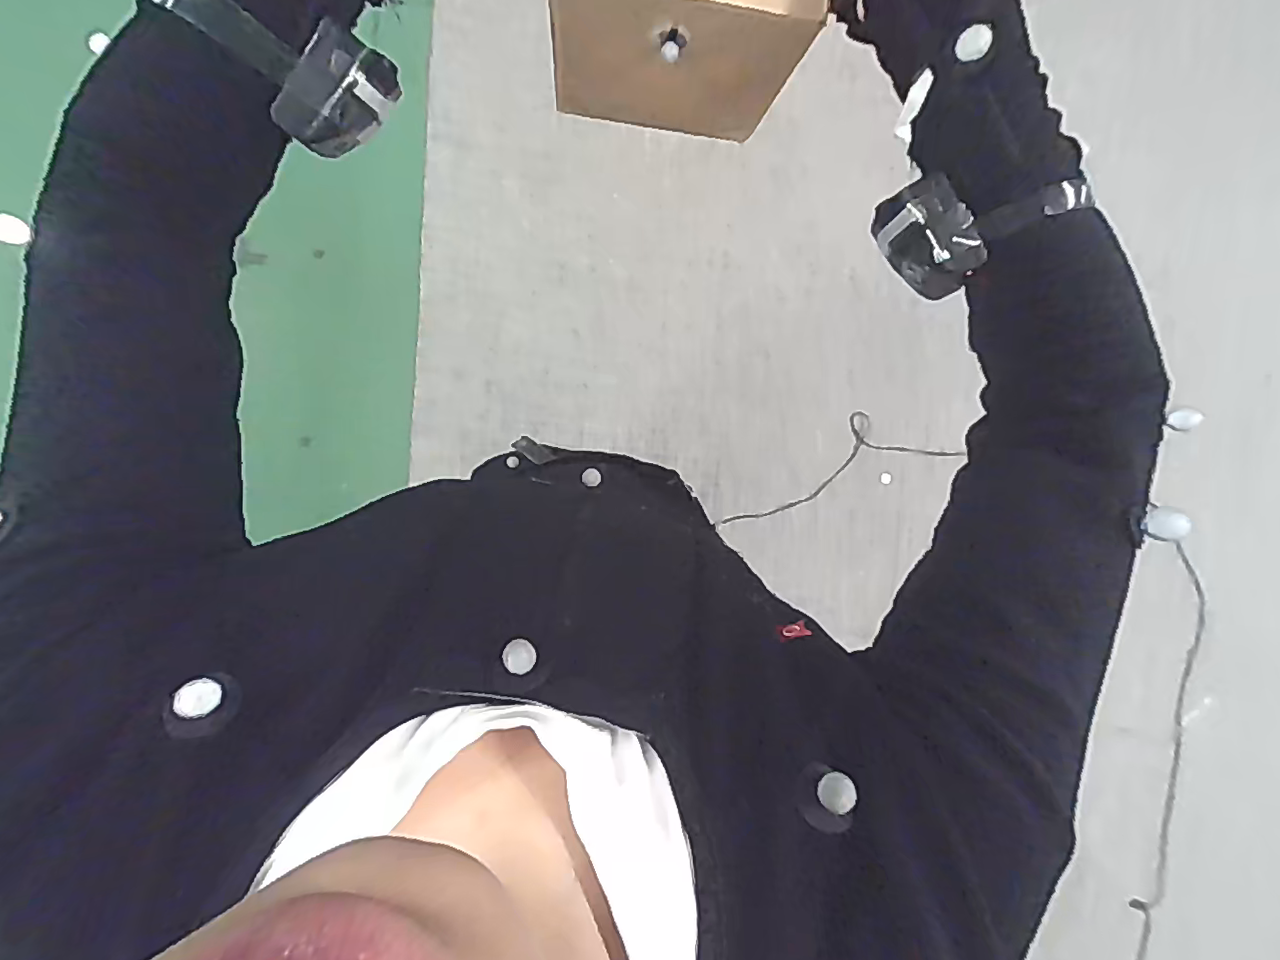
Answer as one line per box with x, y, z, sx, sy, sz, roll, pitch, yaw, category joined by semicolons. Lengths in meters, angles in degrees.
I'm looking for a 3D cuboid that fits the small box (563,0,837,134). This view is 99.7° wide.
0.035;-0.387;0.397;0.179;0.176;0.168;4;99;-8;small box
